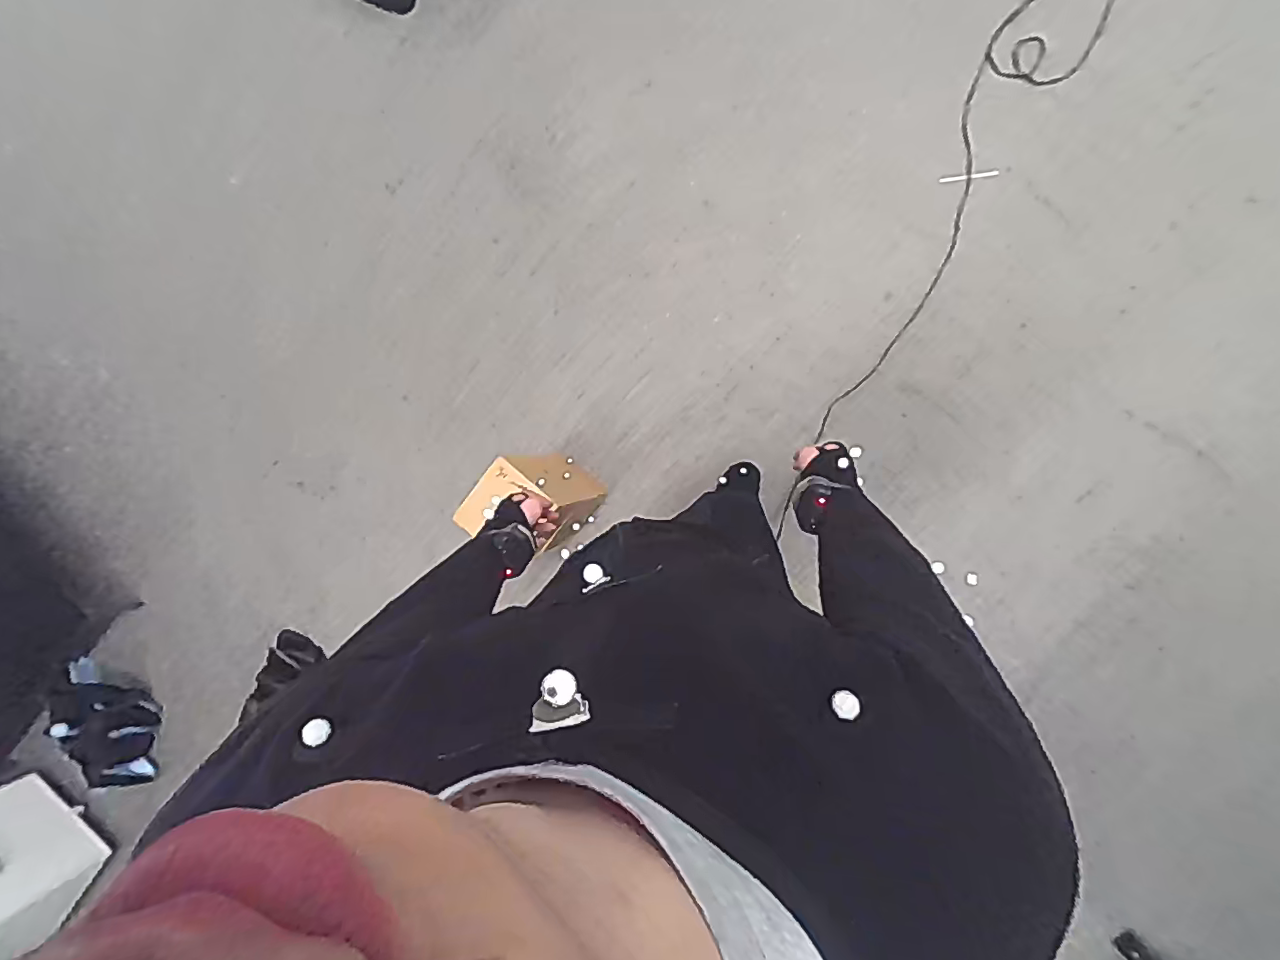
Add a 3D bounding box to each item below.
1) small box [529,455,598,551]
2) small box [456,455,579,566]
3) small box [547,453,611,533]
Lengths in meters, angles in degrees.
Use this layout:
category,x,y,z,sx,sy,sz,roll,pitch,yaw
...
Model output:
category,x,y,z,sx,sy,sz,roll,pitch,yaw
small box,-0.232,0.054,1.358,0.179,0.176,0.168,38,98,6
small box,-0.261,0.061,1.198,0.168,0.176,0.179,40,99,6
small box,-0.208,0.042,1.521,0.179,0.176,0.168,38,99,5
